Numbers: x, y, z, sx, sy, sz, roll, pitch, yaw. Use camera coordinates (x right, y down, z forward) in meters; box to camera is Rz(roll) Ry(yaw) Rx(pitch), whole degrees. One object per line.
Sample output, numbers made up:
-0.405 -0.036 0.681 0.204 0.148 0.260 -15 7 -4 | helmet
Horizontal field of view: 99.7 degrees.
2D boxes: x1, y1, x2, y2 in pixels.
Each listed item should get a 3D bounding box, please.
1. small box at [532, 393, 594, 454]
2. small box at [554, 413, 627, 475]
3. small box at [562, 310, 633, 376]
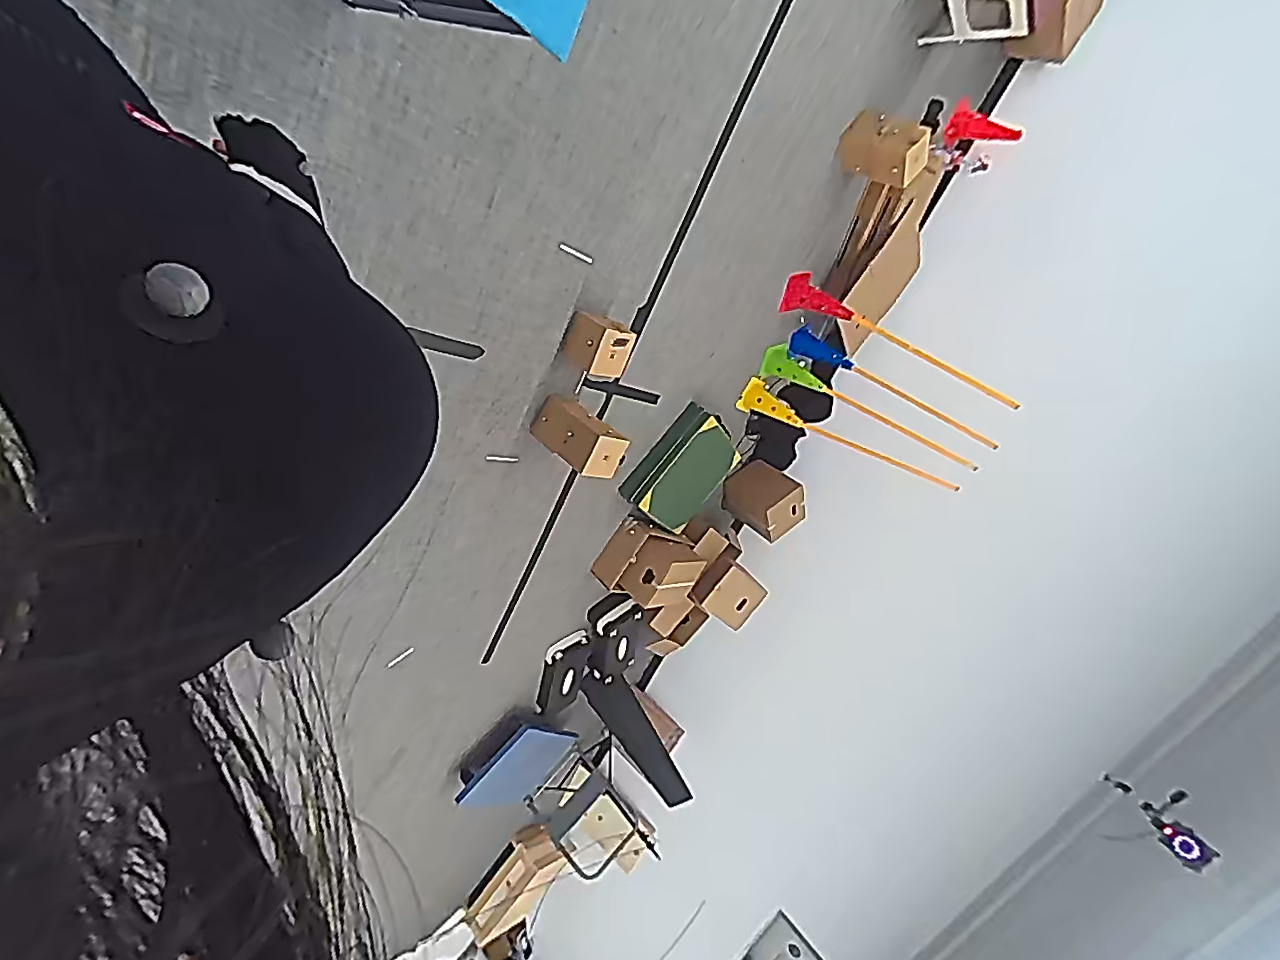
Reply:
-0.297 -0.213 2.119 0.168 0.176 0.179 6 119 -55 | small box
-0.187 -0.134 2.028 0.179 0.176 0.168 7 116 -53 | small box
-0.162 -0.505 1.988 0.168 0.176 0.179 -5 127 -50 | small box
